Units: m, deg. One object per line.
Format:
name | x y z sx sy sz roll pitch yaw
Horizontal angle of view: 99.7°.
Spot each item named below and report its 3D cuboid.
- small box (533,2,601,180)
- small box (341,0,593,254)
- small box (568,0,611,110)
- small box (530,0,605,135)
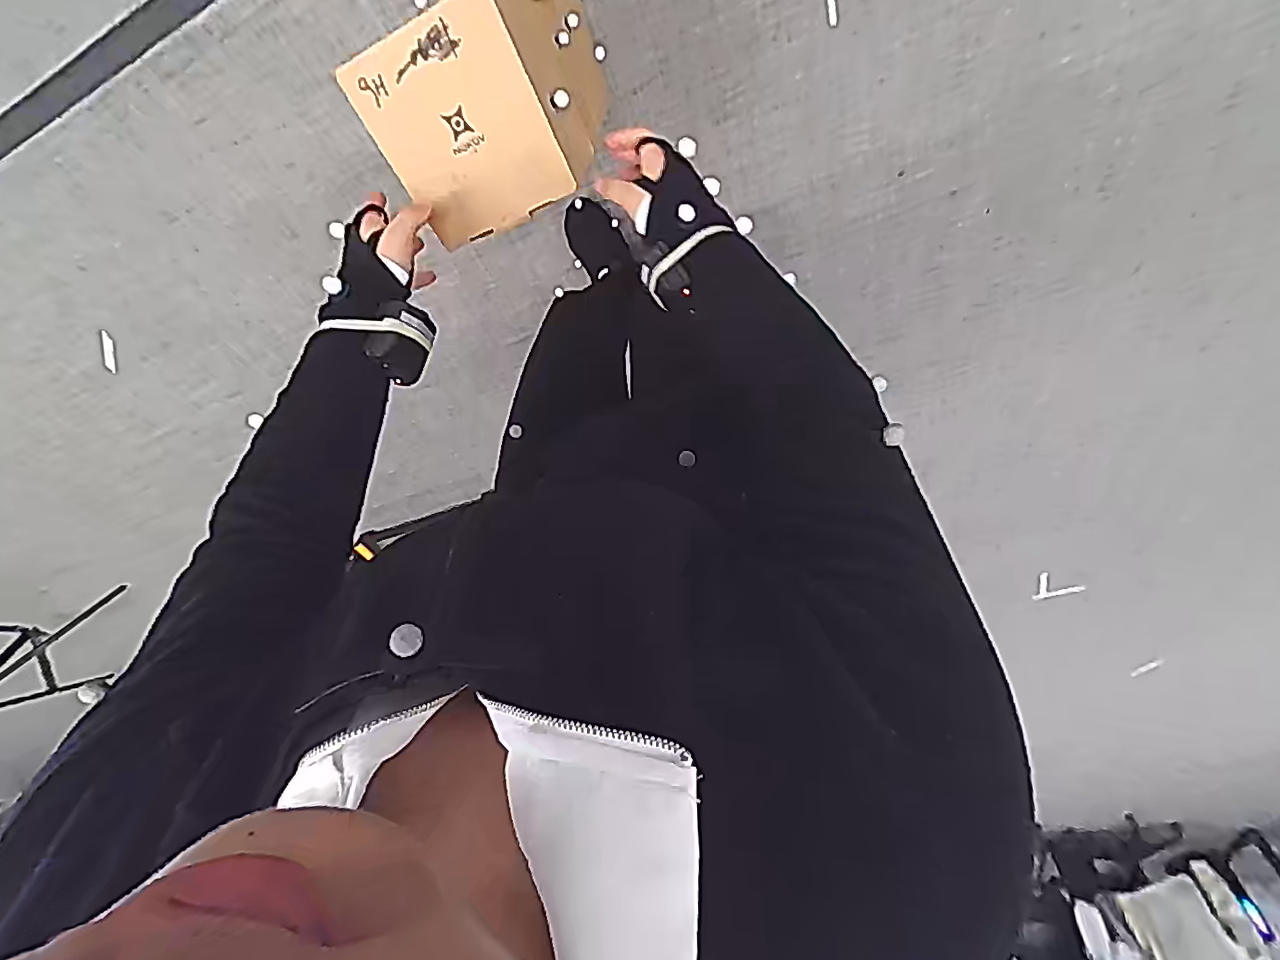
small box | -0.159 -0.483 0.705 0.168 0.176 0.179 -12 131 14
small box | -0.162 -0.381 0.577 0.168 0.176 0.179 -16 130 17
small box | -0.160 -0.705 0.945 0.179 0.176 0.168 -13 130 13
small box | -0.160 -0.601 0.818 0.168 0.176 0.179 -13 131 14
